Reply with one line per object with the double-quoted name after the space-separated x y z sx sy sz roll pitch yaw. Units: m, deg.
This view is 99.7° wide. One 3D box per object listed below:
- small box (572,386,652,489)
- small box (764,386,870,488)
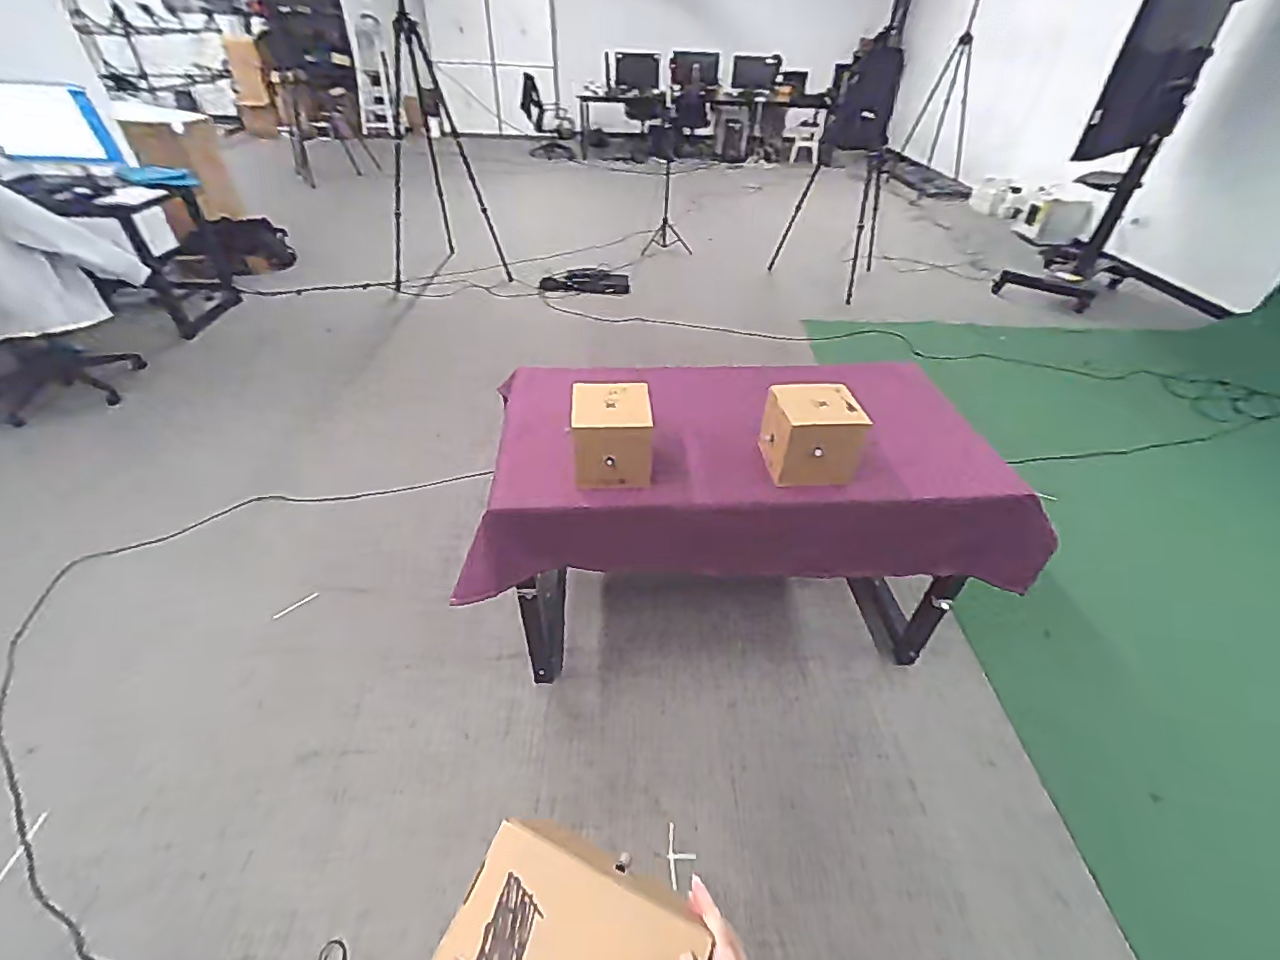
-0.061 -0.092 1.200 0.168 0.176 0.179 -1 39 -4 "small box"
0.386 -0.095 1.220 0.179 0.176 0.168 -2 40 -4 "small box"
